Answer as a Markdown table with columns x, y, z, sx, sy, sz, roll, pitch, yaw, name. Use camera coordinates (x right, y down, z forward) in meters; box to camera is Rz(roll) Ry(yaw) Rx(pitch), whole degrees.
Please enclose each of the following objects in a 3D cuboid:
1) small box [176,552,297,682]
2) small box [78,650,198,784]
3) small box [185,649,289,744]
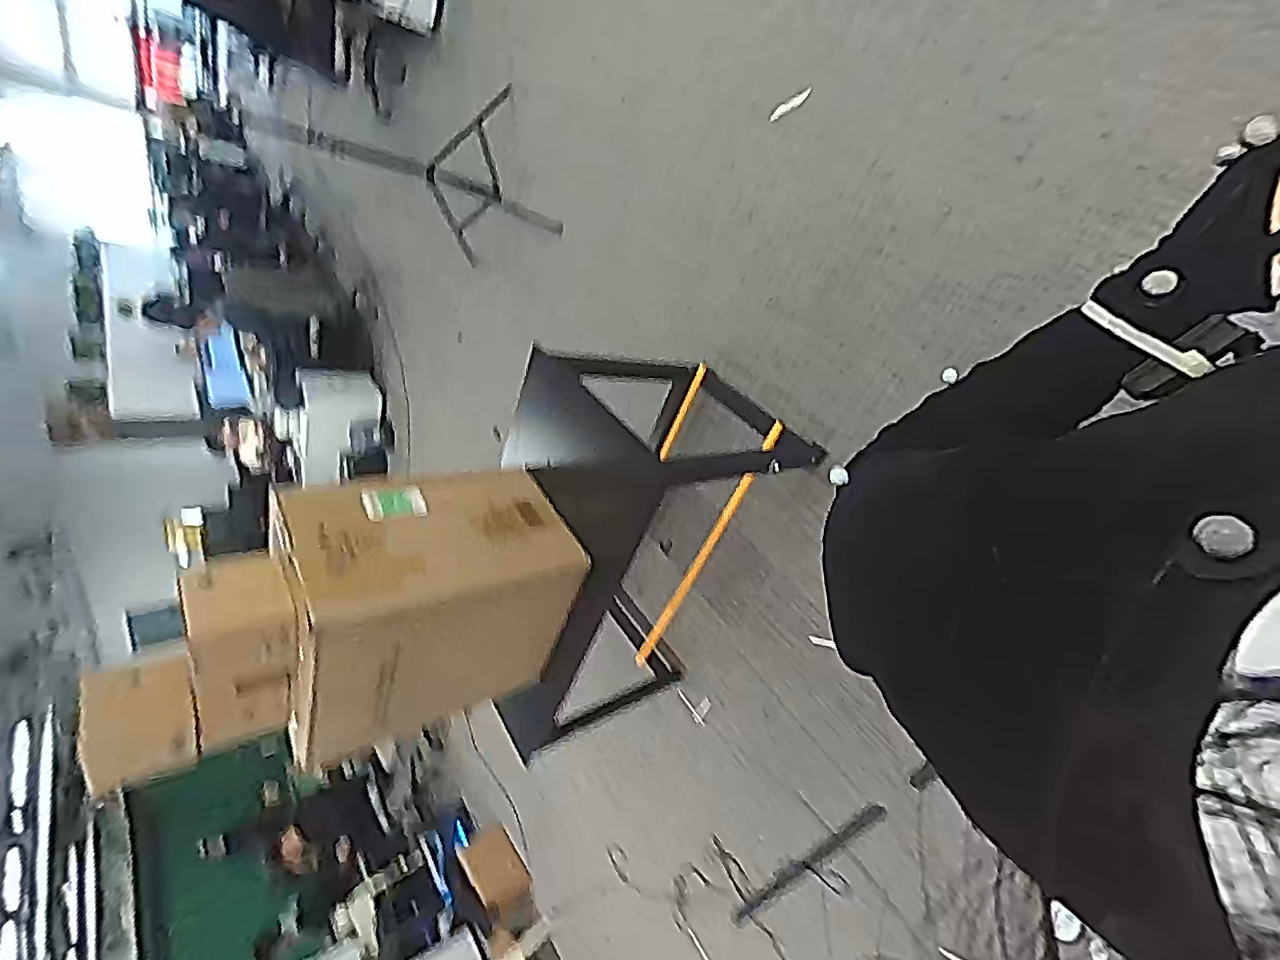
| x | y | z | sx | sy | sz | roll | pitch | yaw | name |
| --- | --- | --- | --- | --- | --- | --- | --- | --- | --- |
| -0.803 | 0.262 | 1.078 | 0.179 | 0.176 | 0.168 | 47 | 129 | 33 | small box |
| -1.032 | 0.477 | 1.120 | 0.179 | 0.176 | 0.168 | 46 | 127 | 34 | small box |
| -0.918 | 0.454 | 1.237 | 0.179 | 0.176 | 0.168 | 46 | 126 | 33 | small box |
